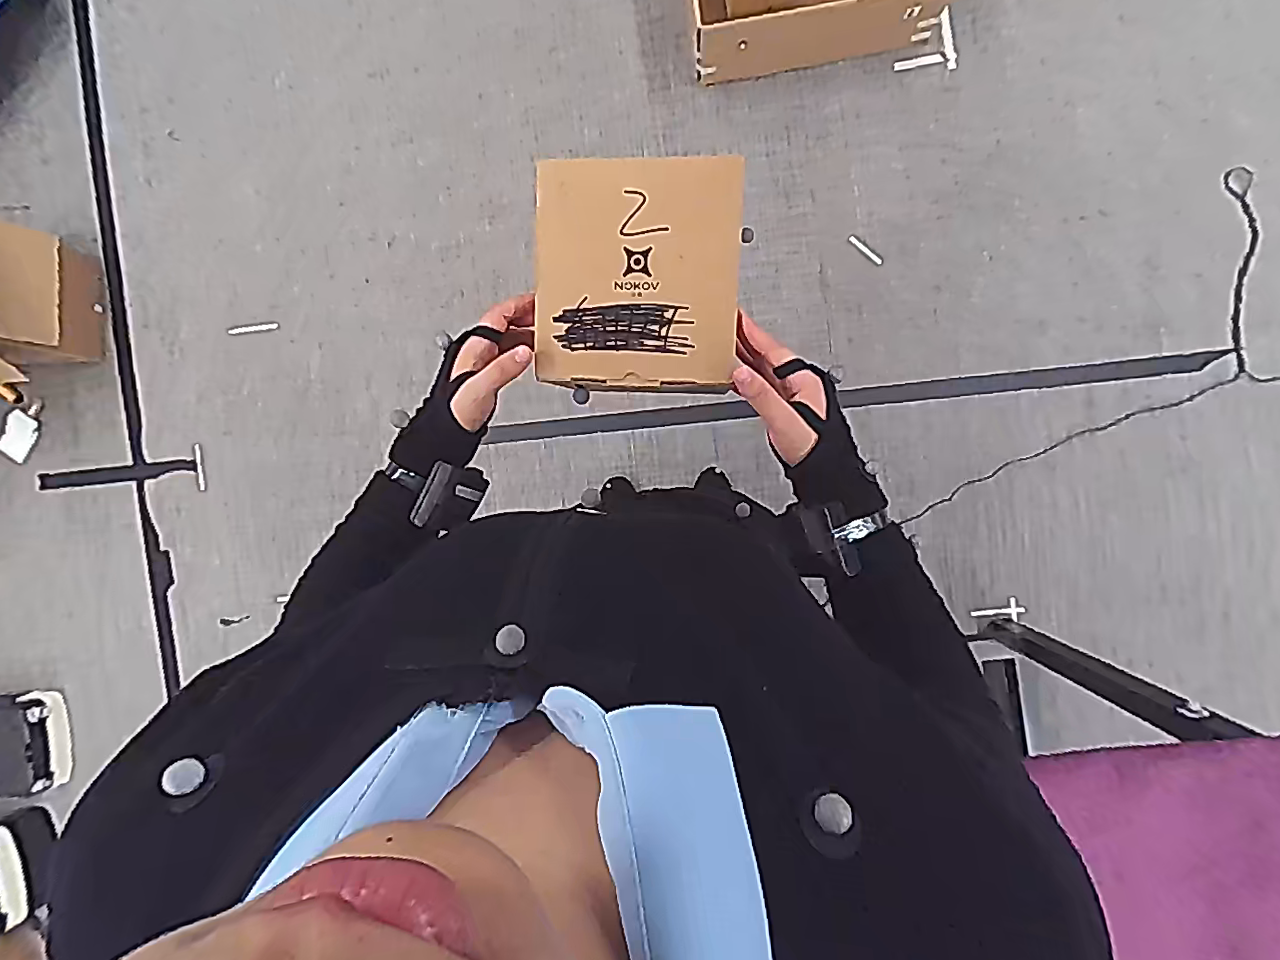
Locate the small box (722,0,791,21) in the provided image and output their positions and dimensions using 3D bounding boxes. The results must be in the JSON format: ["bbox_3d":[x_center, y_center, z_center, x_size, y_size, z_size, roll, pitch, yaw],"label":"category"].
[{"bbox_3d":[0.289,-1.274,1.323,0.168,0.176,0.179,-9,91,3],"label":"small box"}]
